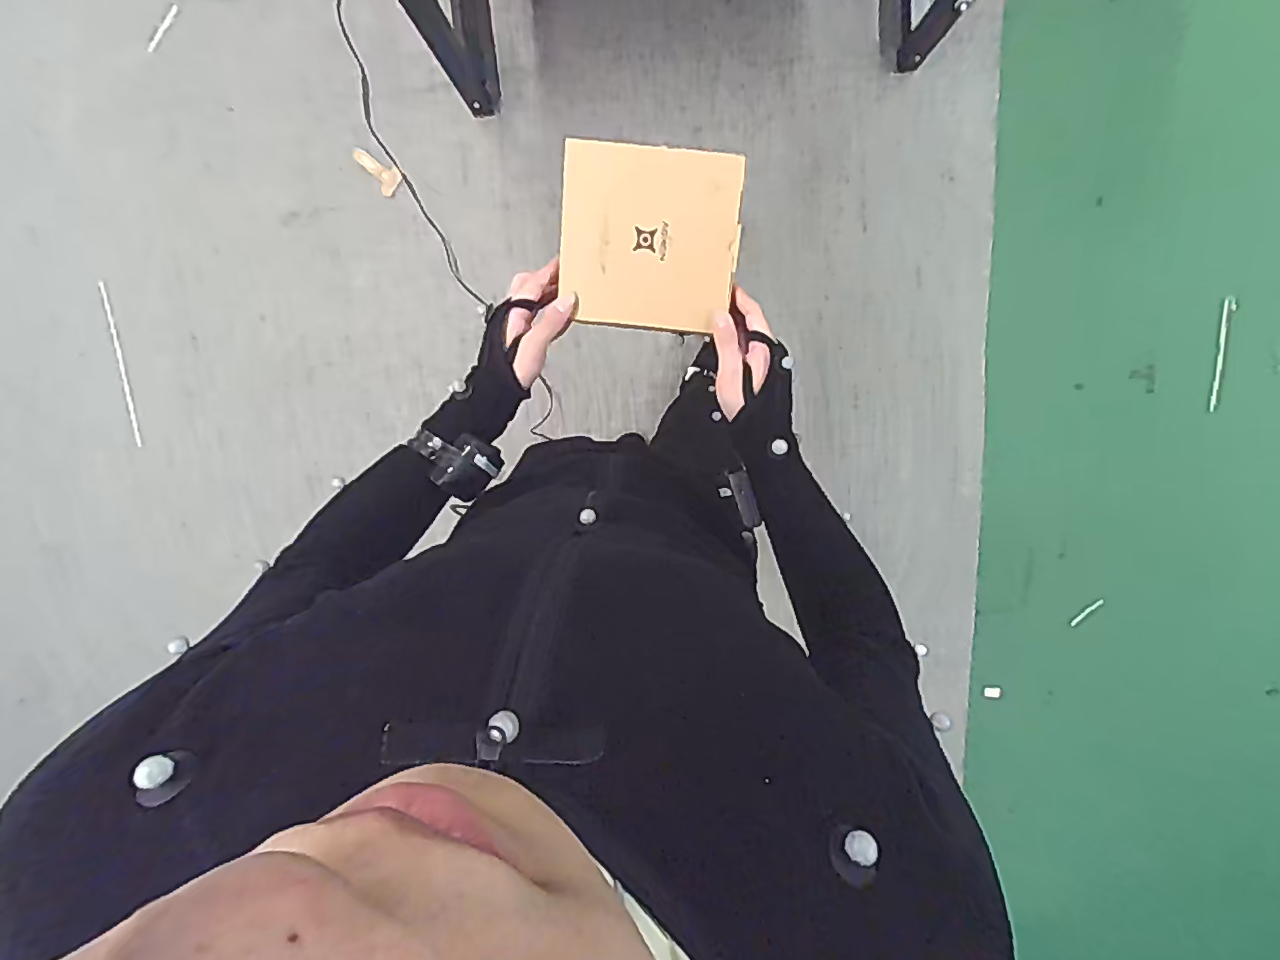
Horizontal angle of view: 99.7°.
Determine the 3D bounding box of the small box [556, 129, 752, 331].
[{"bbox_3d":[0.012,-0.258,0.599,0.179,0.176,0.168,6,104,0],"label":"small box"}]
